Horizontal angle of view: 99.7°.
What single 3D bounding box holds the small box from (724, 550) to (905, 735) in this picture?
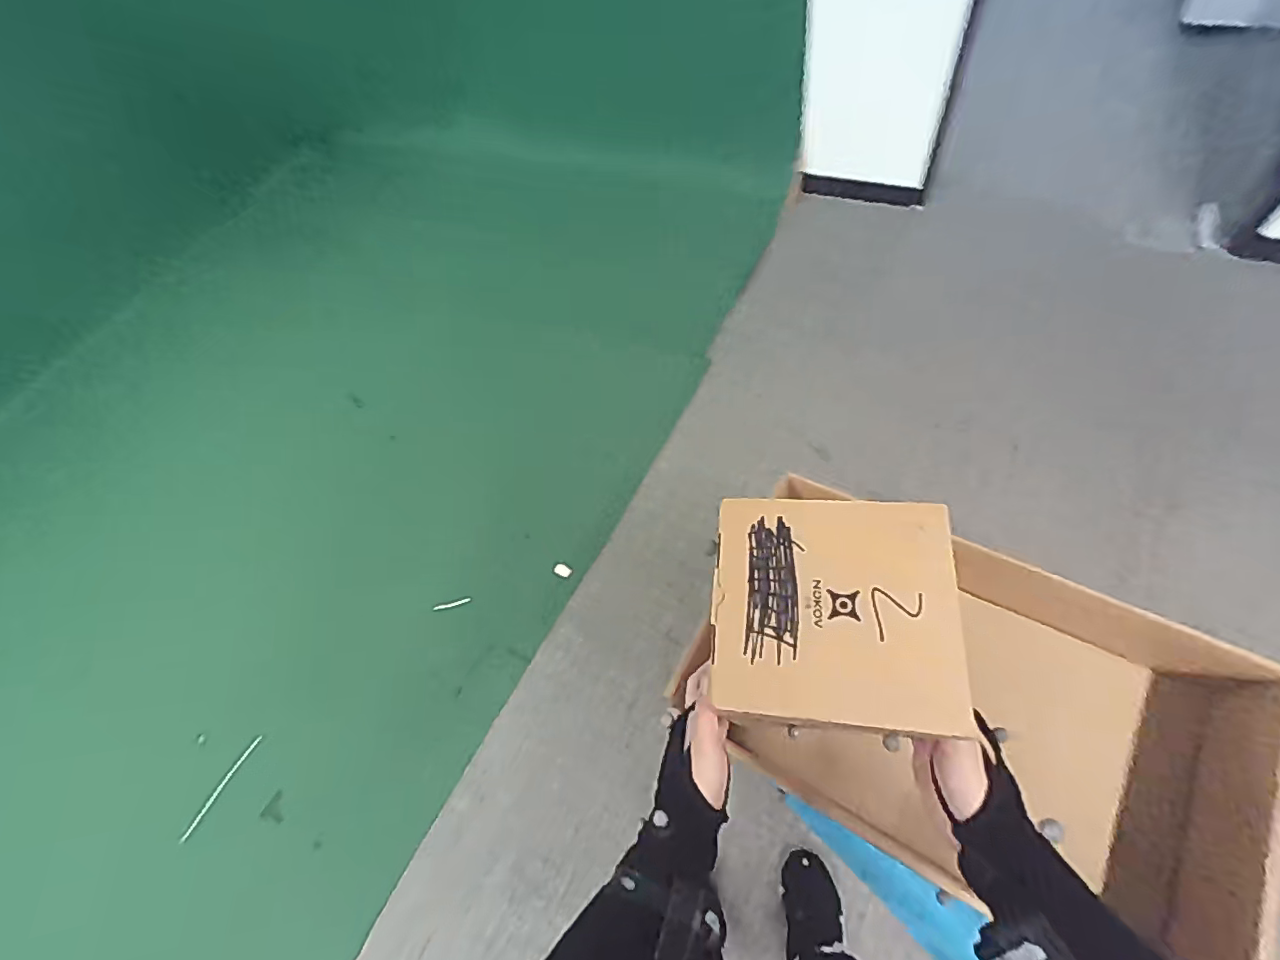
[{"bbox_3d":[0.183,0.190,0.616,0.168,0.176,0.179,-4,64,12],"label":"small box"}]
